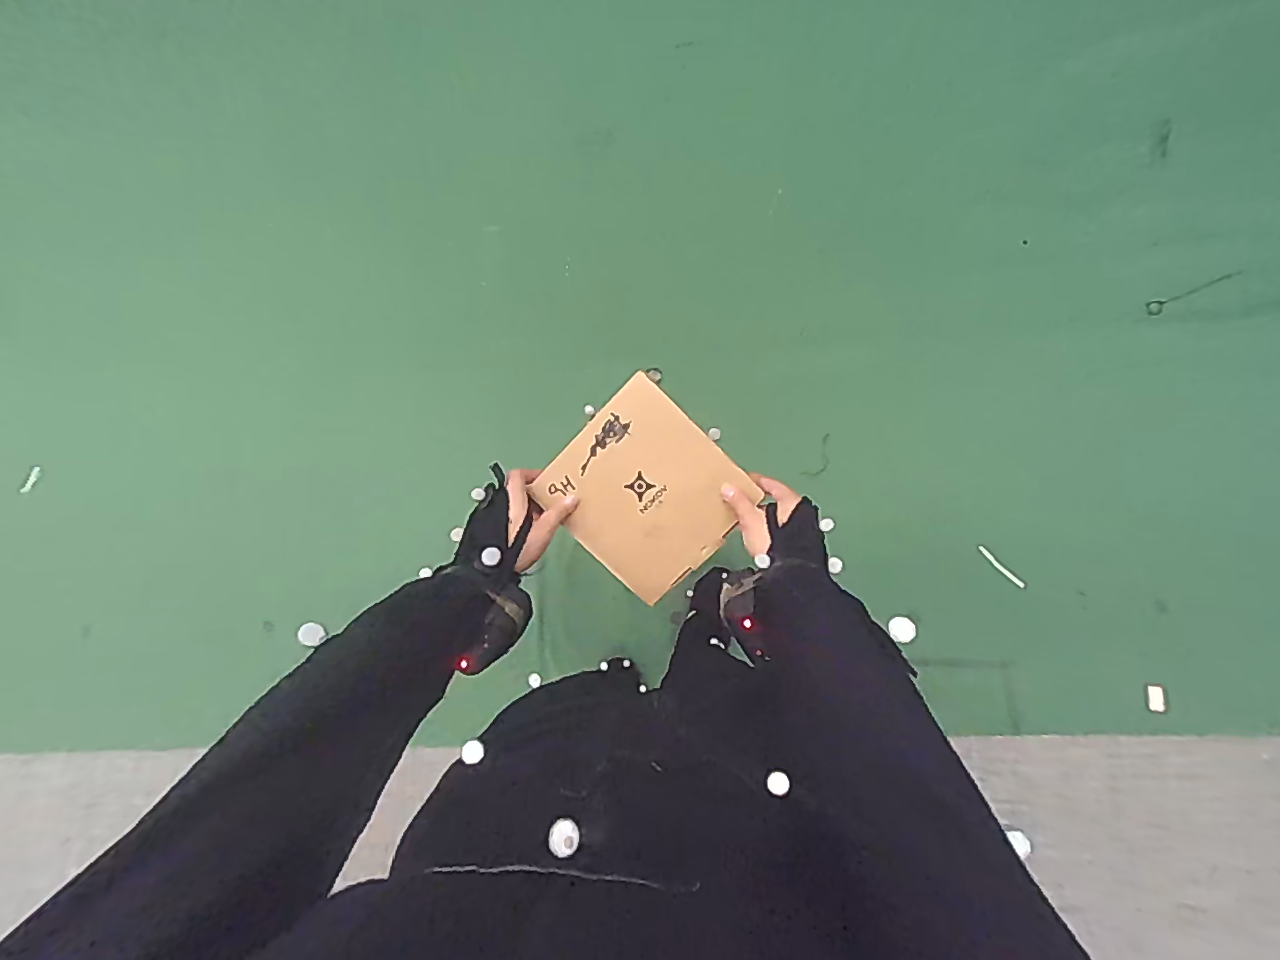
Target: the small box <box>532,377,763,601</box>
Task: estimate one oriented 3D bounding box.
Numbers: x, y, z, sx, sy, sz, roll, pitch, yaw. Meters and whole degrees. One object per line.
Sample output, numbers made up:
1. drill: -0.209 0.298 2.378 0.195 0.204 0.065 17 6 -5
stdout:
1. small box: 0.010 -0.001 0.618 0.179 0.176 0.168 44 97 -6
